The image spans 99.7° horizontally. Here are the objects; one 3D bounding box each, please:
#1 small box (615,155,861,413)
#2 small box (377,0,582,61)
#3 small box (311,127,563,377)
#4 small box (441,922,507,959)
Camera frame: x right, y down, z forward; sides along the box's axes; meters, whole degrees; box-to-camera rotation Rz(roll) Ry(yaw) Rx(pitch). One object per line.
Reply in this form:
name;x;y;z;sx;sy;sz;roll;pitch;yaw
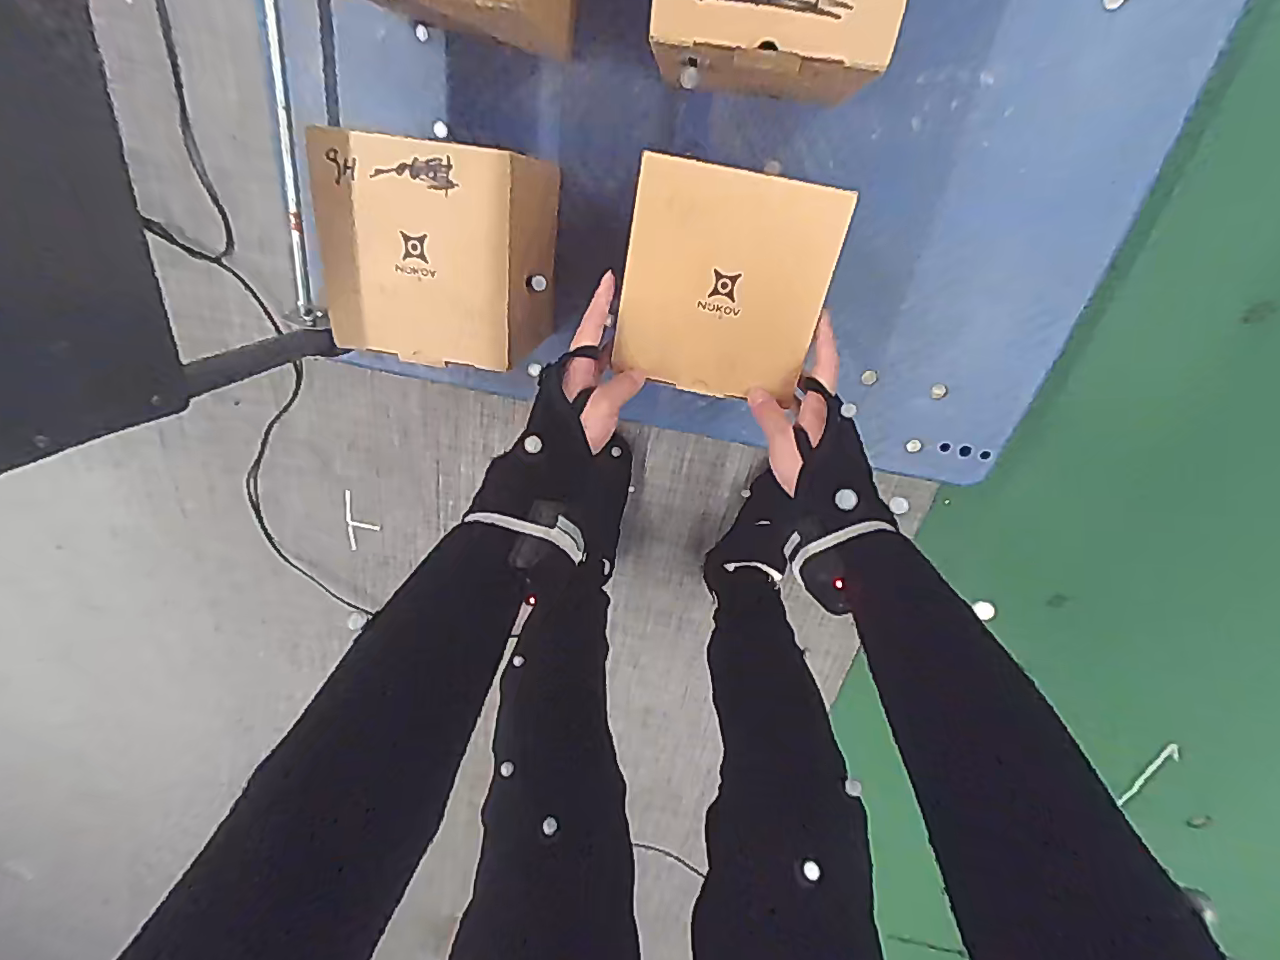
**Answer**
small box;0.079;-0.187;0.512;0.168;0.176;0.179;12;118;1
small box;-0.131;-0.449;0.403;0.168;0.176;0.179;14;117;-1
small box;-0.176;-0.219;0.523;0.168;0.176;0.179;9;118;2
small box;-0.515;1.476;1.626;0.179;0.176;0.168;16;117;-2
